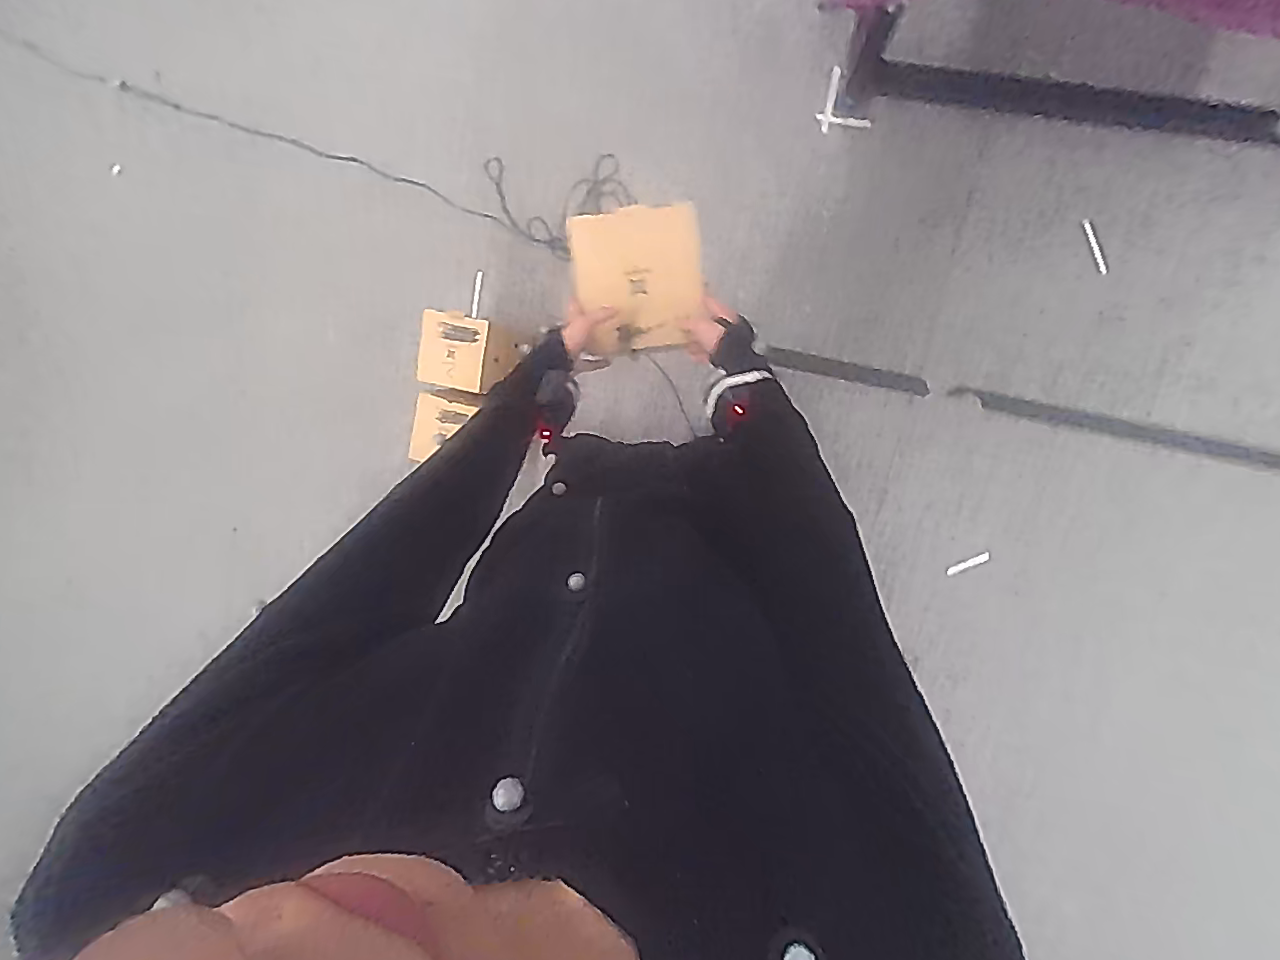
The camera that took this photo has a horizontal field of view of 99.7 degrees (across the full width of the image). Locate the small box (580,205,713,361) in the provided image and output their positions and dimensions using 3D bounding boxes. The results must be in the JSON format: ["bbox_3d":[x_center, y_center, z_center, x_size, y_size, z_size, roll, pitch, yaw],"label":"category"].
[{"bbox_3d":[0.013,-0.269,0.775,0.168,0.176,0.179,-4,100,5],"label":"small box"}]

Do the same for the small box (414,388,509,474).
[{"bbox_3d":[-0.460,-0.135,1.416,0.168,0.176,0.179,18,105,6],"label":"small box"}]
